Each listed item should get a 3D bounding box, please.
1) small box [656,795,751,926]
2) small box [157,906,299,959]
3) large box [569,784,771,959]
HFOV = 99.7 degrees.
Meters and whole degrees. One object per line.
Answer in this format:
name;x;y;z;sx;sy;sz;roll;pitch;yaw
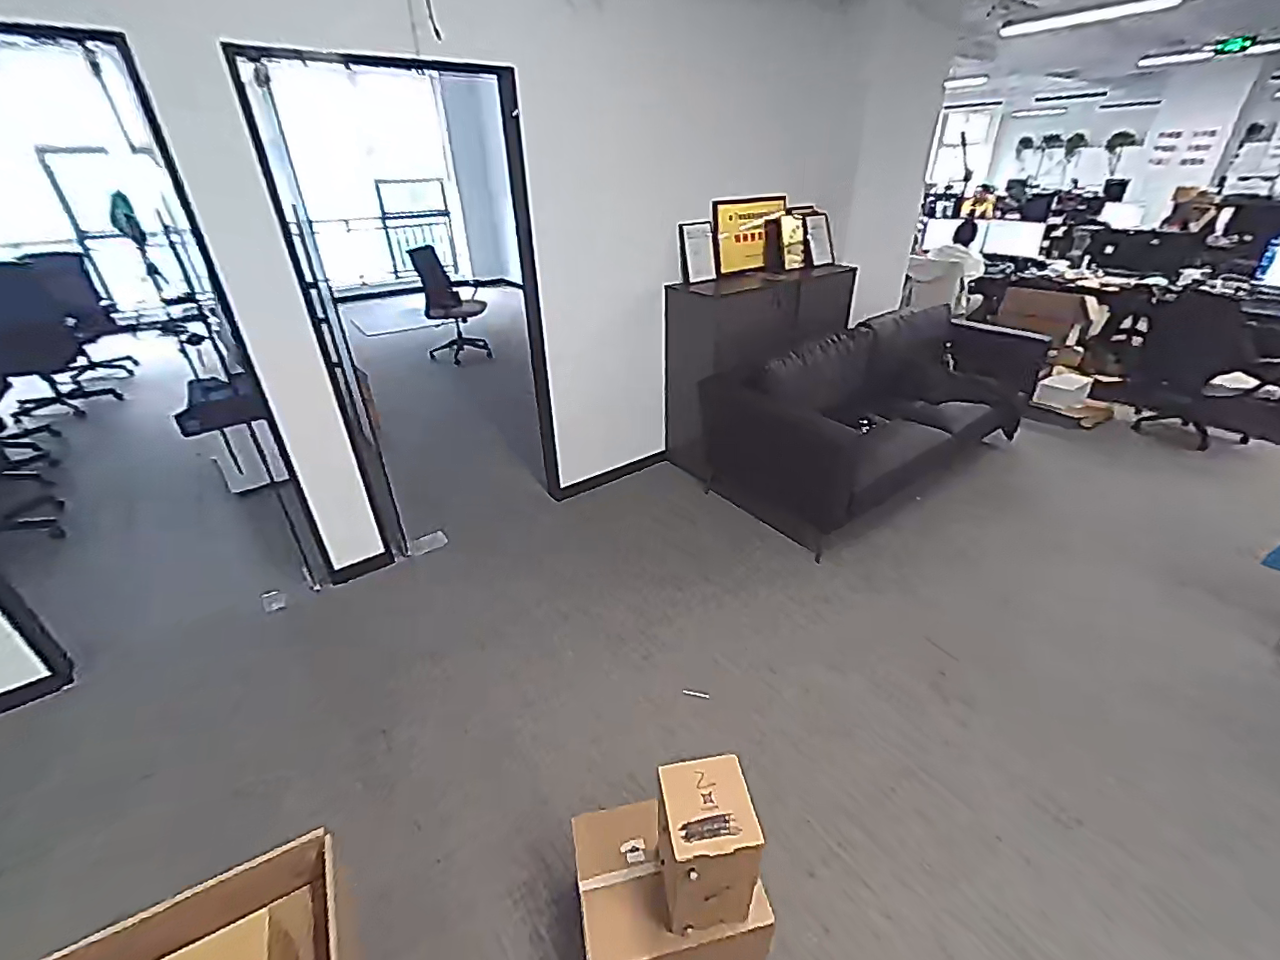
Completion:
small box;0.129;0.818;1.158;0.168;0.176;0.179;-5;32;-7
small box;-0.675;0.865;0.884;0.168;0.176;0.179;-16;35;-24
large box;0.058;1.014;1.310;0.408;0.320;0.320;-8;31;-10
